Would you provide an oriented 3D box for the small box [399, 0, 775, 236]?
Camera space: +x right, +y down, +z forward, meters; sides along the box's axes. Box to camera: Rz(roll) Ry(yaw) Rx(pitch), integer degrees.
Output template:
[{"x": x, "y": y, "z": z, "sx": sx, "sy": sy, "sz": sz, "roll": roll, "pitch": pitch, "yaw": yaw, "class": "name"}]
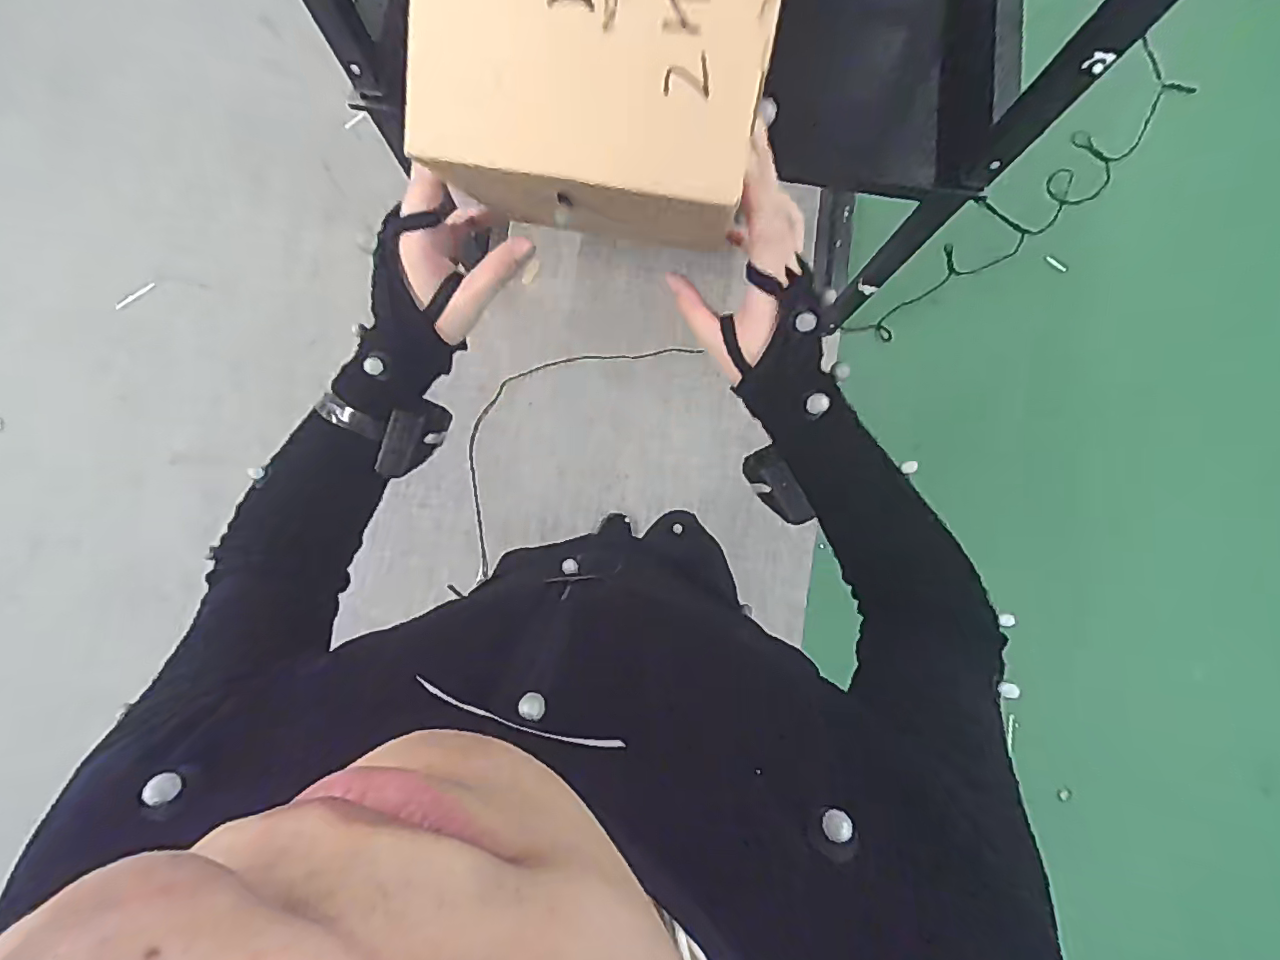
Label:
[{"x": -0.016, "y": -0.255, "z": 0.323, "sx": 0.179, "sy": 0.176, "sz": 0.168, "roll": 10, "pitch": 107, "yaw": 2, "class": "small box"}]
